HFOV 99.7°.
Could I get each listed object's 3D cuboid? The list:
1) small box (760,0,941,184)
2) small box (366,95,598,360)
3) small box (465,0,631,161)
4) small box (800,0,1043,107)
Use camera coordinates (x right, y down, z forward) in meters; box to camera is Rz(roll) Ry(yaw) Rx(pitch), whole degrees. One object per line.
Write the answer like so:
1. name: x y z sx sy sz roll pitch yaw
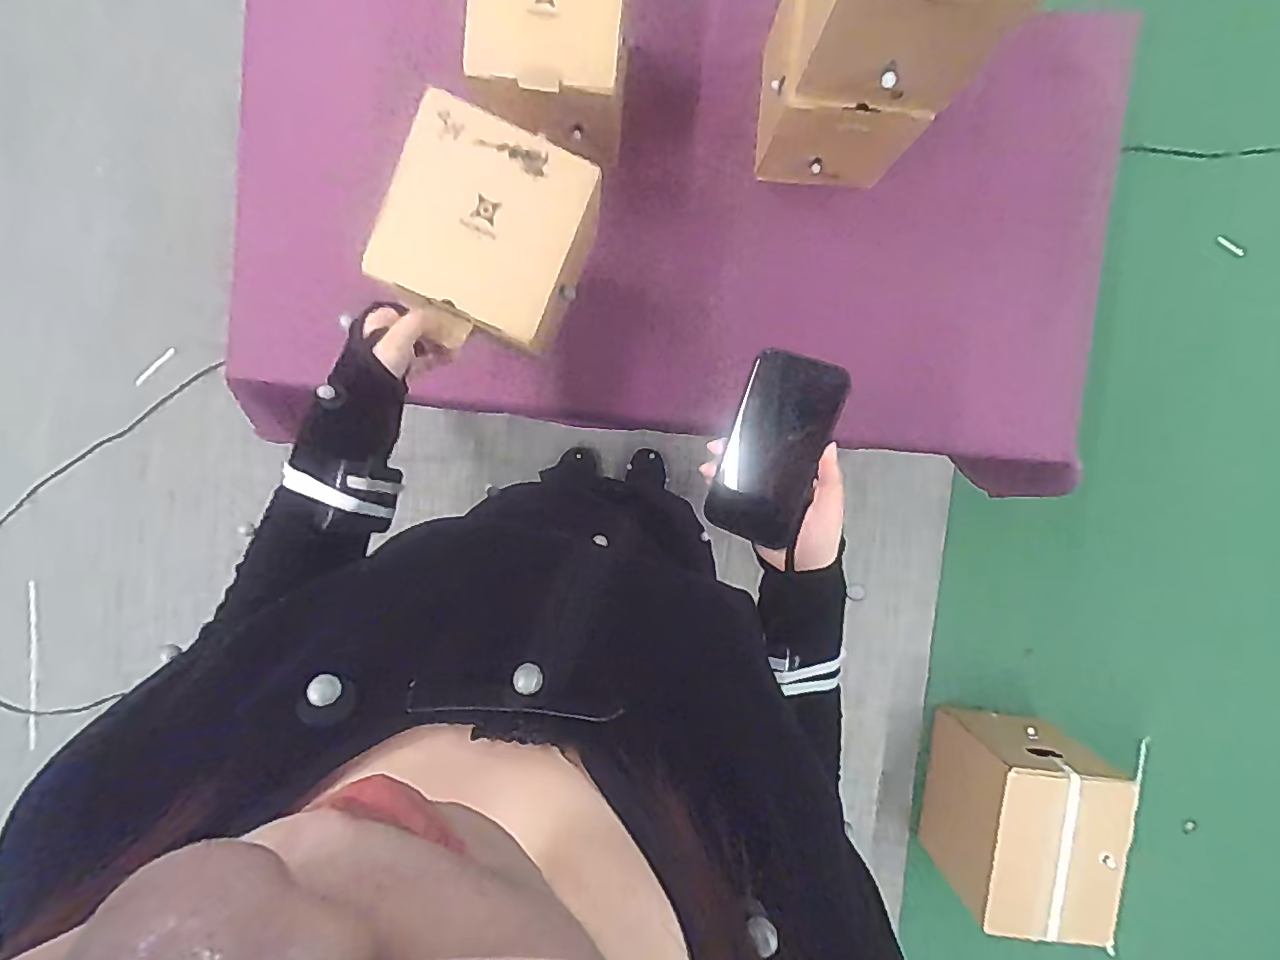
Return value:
1. small box: 0.249 -0.495 0.660 0.168 0.176 0.179 4 94 -1
2. small box: -0.150 -0.242 0.575 0.168 0.176 0.179 22 93 -7
3. small box: -0.100 -0.521 0.655 0.168 0.176 0.179 6 94 -2
4. small box: 0.258 -0.490 0.495 0.168 0.176 0.179 6 95 -1
